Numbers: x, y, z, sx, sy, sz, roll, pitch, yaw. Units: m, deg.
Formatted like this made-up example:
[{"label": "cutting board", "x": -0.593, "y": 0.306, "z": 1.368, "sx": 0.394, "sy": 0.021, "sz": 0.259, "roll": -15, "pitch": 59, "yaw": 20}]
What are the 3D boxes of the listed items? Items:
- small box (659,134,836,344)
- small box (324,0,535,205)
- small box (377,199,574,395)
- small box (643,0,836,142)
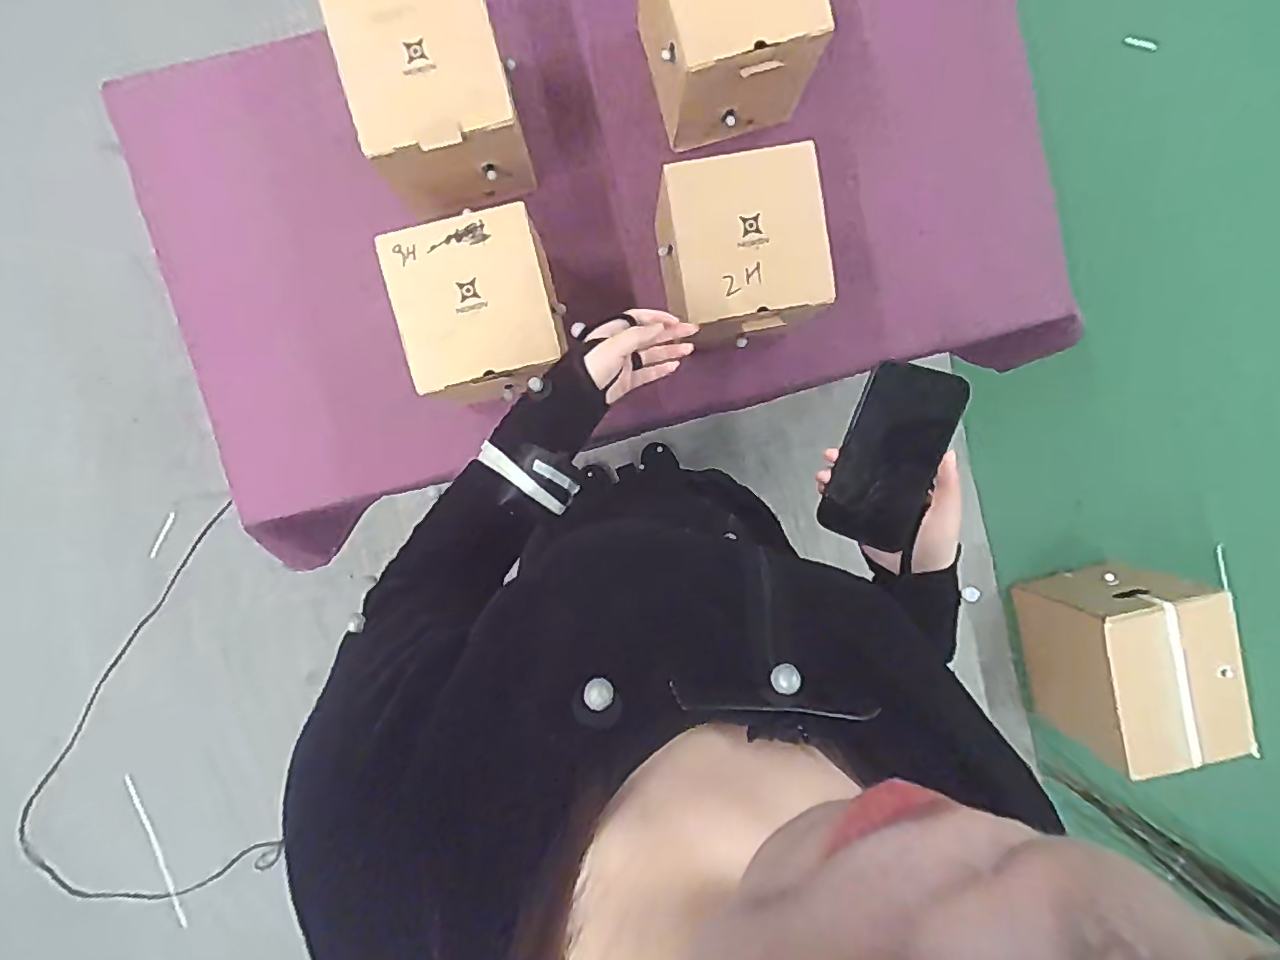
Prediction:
[{"label": "small box", "x": 0.119, "y": -0.278, "z": 0.662, "sx": 0.168, "sy": 0.176, "sz": 0.179, "roll": -10, "pitch": 95, "yaw": 0}, {"label": "small box", "x": -0.232, "y": -0.452, "z": 0.642, "sx": 0.168, "sy": 0.176, "sz": 0.179, "roll": -14, "pitch": 95, "yaw": -1}, {"label": "small box", "x": -0.184, "y": -0.205, "z": 0.662, "sx": 0.168, "sy": 0.176, "sz": 0.179, "roll": -14, "pitch": 95, "yaw": -1}, {"label": "small box", "x": 0.103, "y": -0.550, "z": 0.642, "sx": 0.168, "sy": 0.176, "sz": 0.179, "roll": -17, "pitch": 95, "yaw": 0}]
